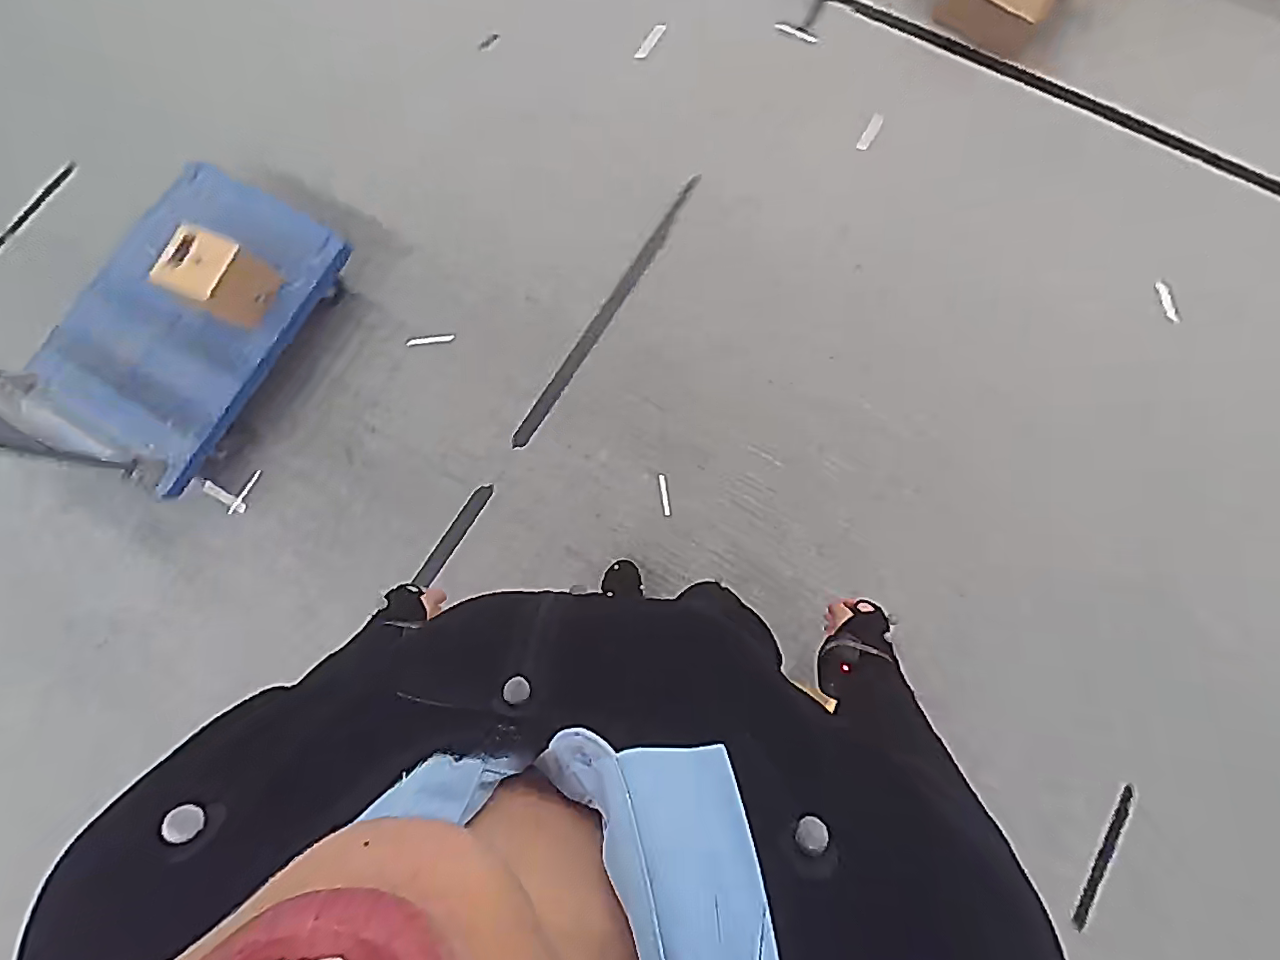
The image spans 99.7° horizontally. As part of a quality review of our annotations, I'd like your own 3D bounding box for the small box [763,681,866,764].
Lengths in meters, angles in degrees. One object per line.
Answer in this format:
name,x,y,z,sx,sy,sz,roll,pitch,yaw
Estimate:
small box,0.422,0.613,1.332,0.179,0.176,0.168,19,80,6
